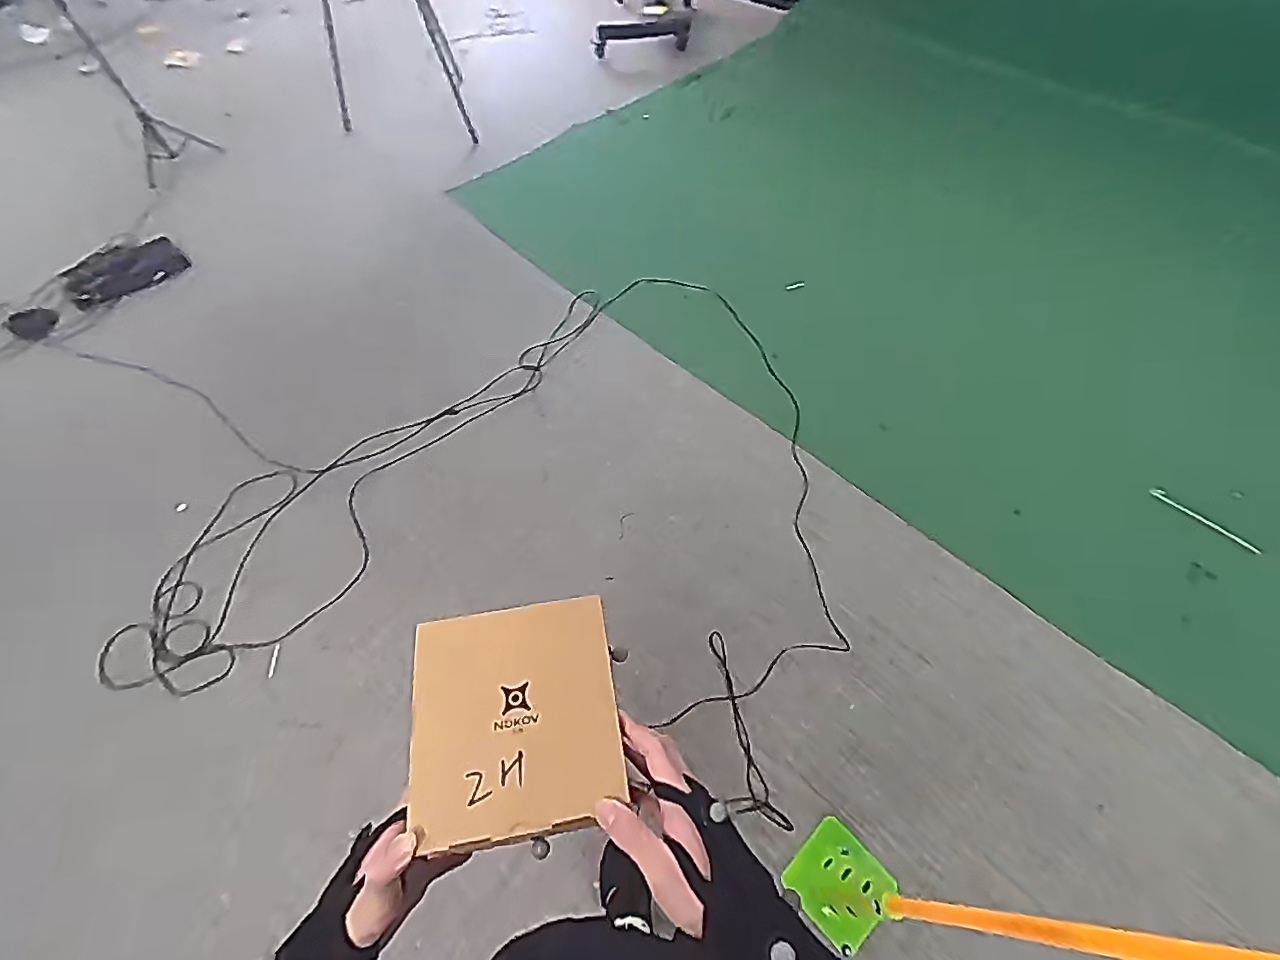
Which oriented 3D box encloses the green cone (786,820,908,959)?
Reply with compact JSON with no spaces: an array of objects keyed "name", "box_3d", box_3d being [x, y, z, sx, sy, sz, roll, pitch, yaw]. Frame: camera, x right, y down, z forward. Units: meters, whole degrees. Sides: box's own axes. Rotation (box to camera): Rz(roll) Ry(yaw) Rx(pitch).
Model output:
[{"name":"green cone","box_3d":[0.456,0.830,1.081,0.200,0.368,0.202,-39,63,-21]}]
